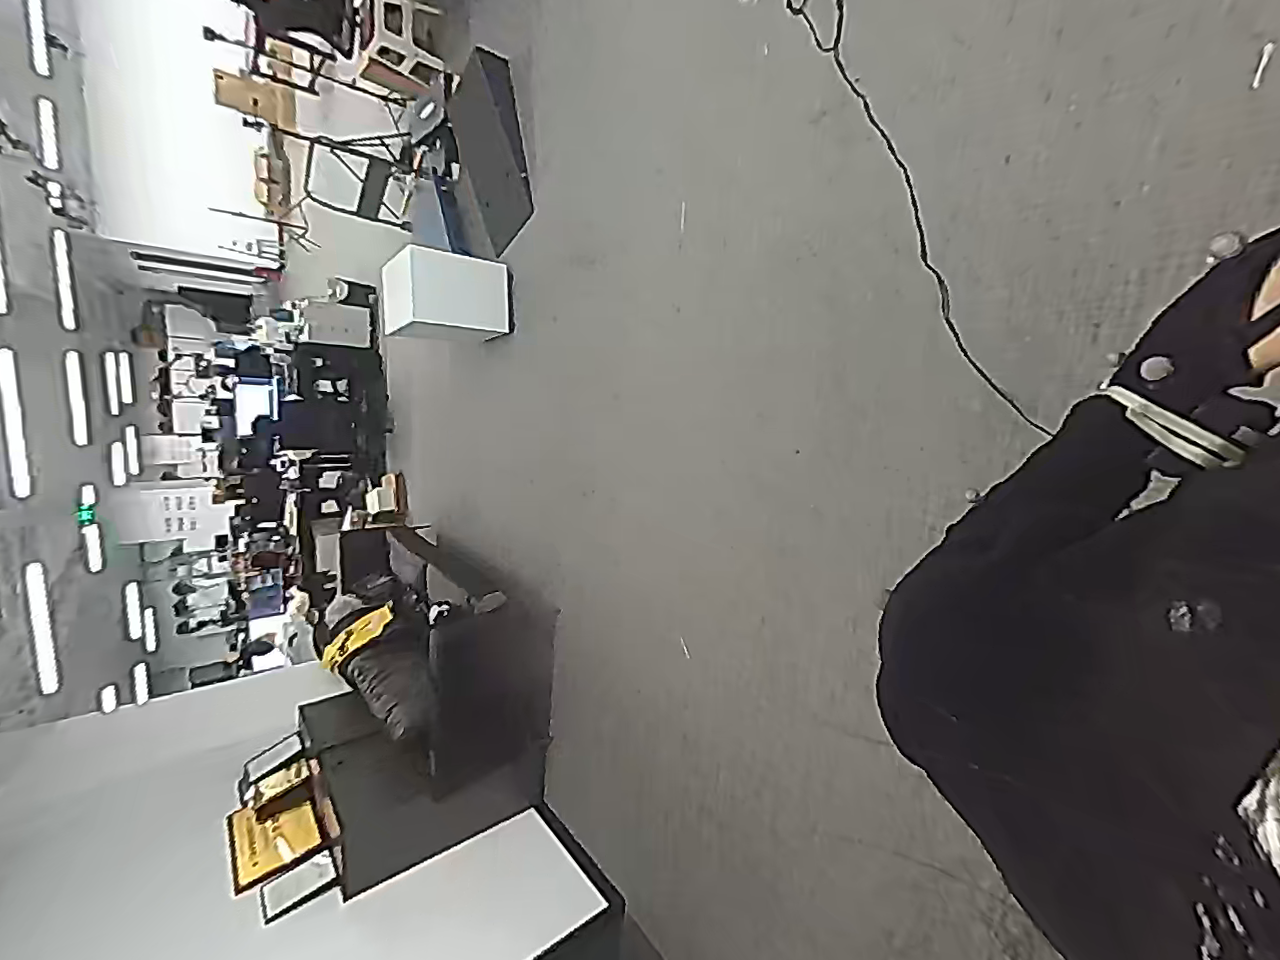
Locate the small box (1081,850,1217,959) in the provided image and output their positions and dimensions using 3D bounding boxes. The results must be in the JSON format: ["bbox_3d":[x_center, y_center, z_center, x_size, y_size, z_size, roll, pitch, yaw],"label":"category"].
[{"bbox_3d":[1.060,0.929,1.125,0.168,0.176,0.179,18,107,49],"label":"small box"}]
